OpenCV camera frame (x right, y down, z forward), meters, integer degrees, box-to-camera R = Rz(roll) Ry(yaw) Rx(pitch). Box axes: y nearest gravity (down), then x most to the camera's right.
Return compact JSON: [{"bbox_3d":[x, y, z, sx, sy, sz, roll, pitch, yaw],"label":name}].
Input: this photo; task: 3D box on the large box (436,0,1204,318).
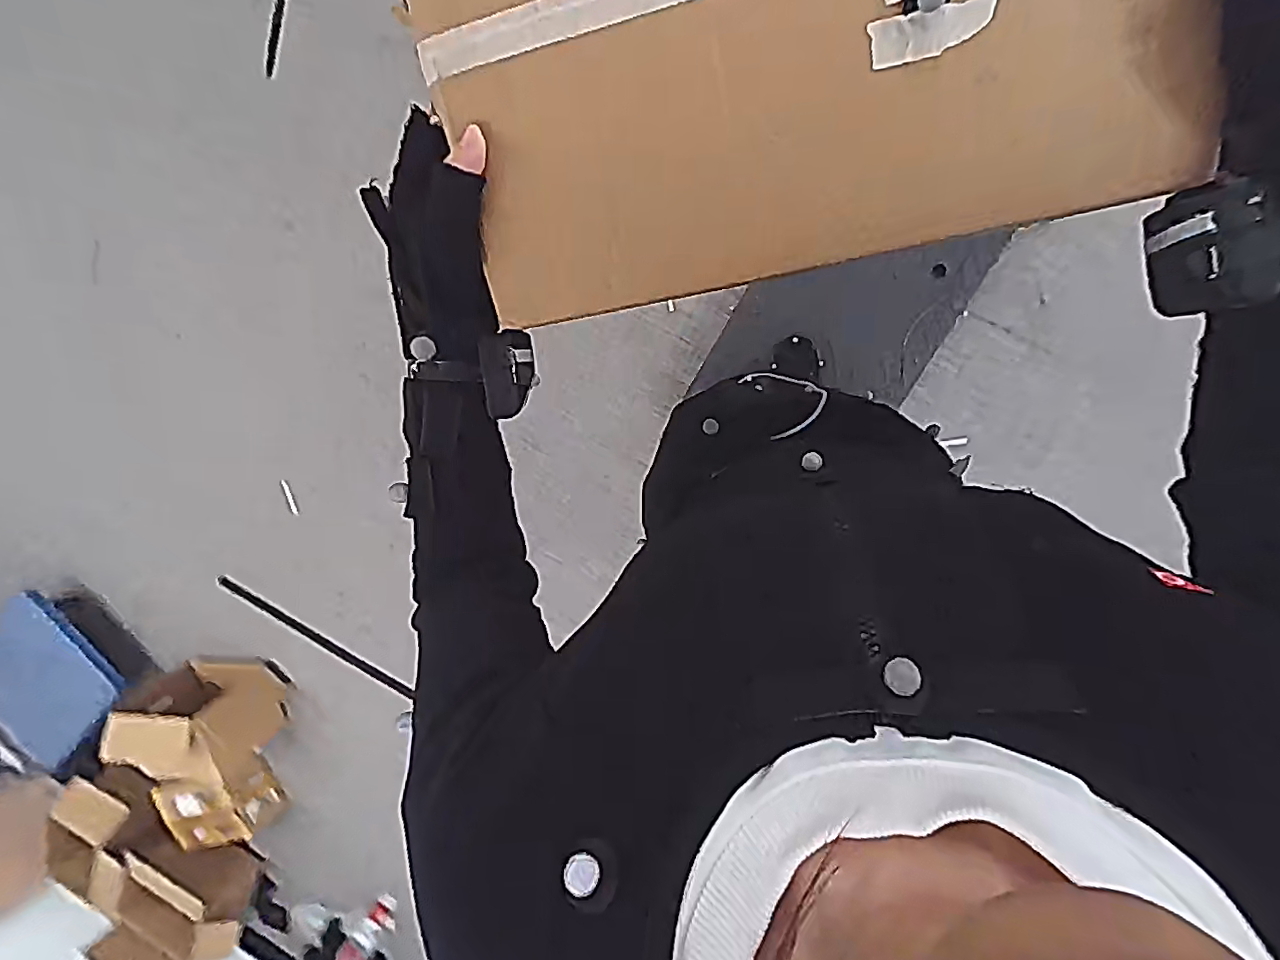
[{"bbox_3d":[0.097,-0.331,0.428,0.408,0.320,0.320,-8,109,11],"label":"large box"}]
